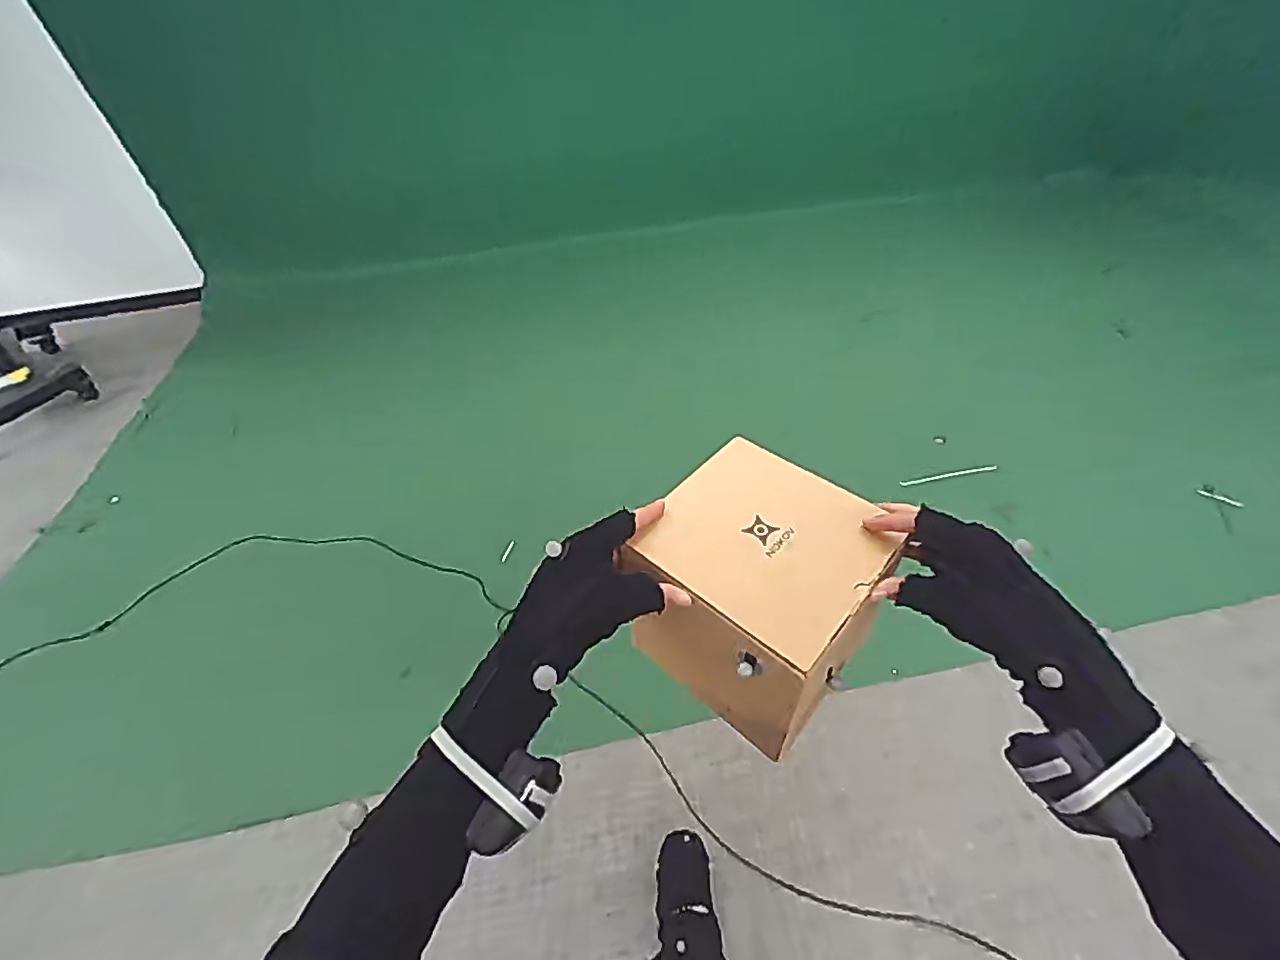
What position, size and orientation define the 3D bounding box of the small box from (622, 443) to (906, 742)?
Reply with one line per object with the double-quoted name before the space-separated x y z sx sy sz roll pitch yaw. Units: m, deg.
"small box" 0.103 0.102 0.501 0.179 0.176 0.168 33 56 30
